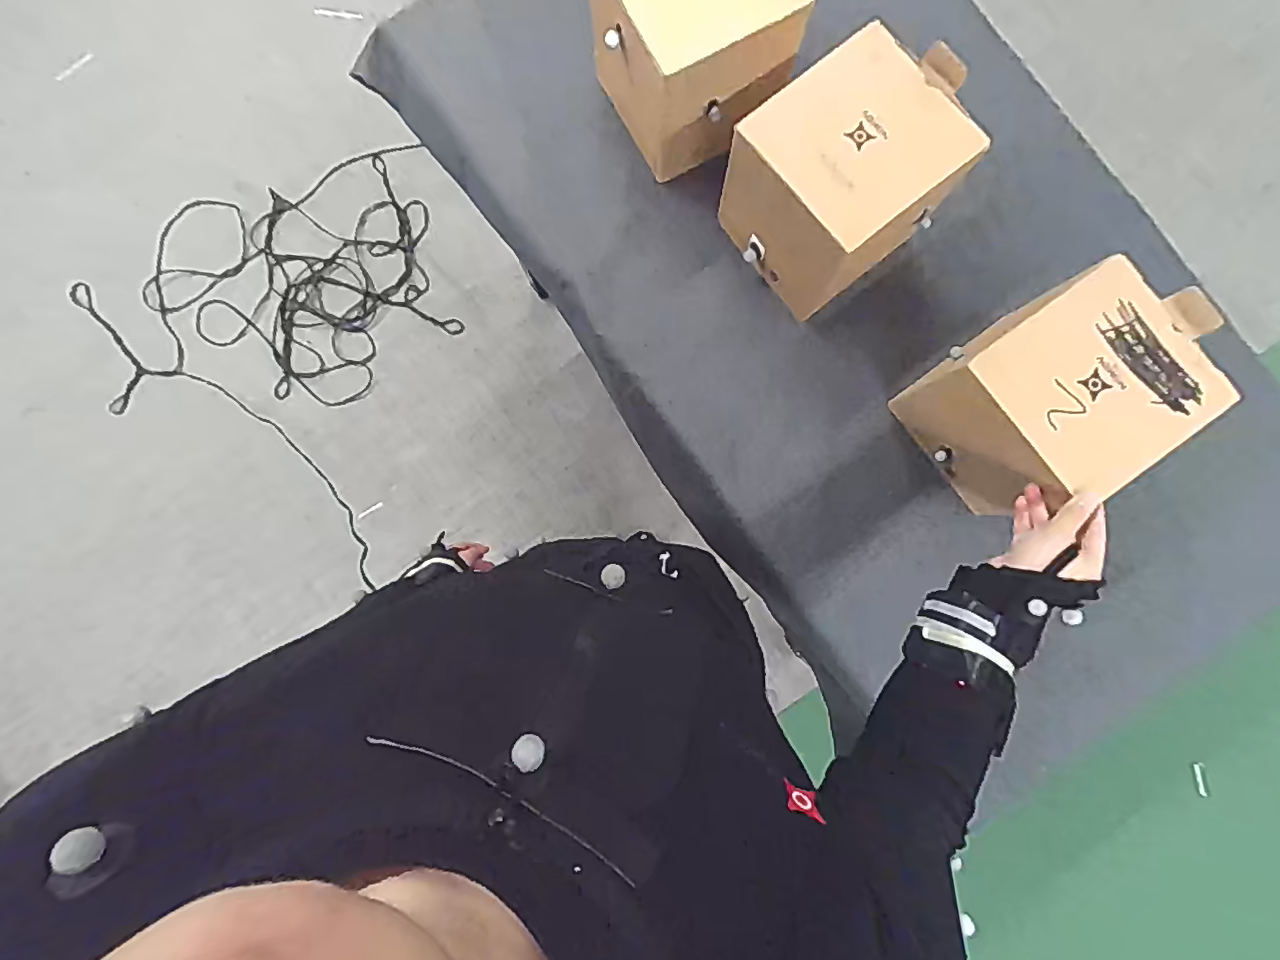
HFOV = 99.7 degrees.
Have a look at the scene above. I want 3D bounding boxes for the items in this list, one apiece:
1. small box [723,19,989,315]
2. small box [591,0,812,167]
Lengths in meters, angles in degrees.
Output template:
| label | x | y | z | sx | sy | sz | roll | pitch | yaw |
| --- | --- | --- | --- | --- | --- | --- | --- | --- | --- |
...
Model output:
| label | x | y | z | sx | sy | sz | roll | pitch | yaw |
| --- | --- | --- | --- | --- | --- | --- | --- | --- | --- |
| small box | 0.210 | -0.316 | 0.582 | 0.179 | 0.176 | 0.168 | -39 | 84 | -3 |
| small box | 0.057 | -0.487 | 0.598 | 0.168 | 0.176 | 0.179 | -28 | 85 | -2 |
